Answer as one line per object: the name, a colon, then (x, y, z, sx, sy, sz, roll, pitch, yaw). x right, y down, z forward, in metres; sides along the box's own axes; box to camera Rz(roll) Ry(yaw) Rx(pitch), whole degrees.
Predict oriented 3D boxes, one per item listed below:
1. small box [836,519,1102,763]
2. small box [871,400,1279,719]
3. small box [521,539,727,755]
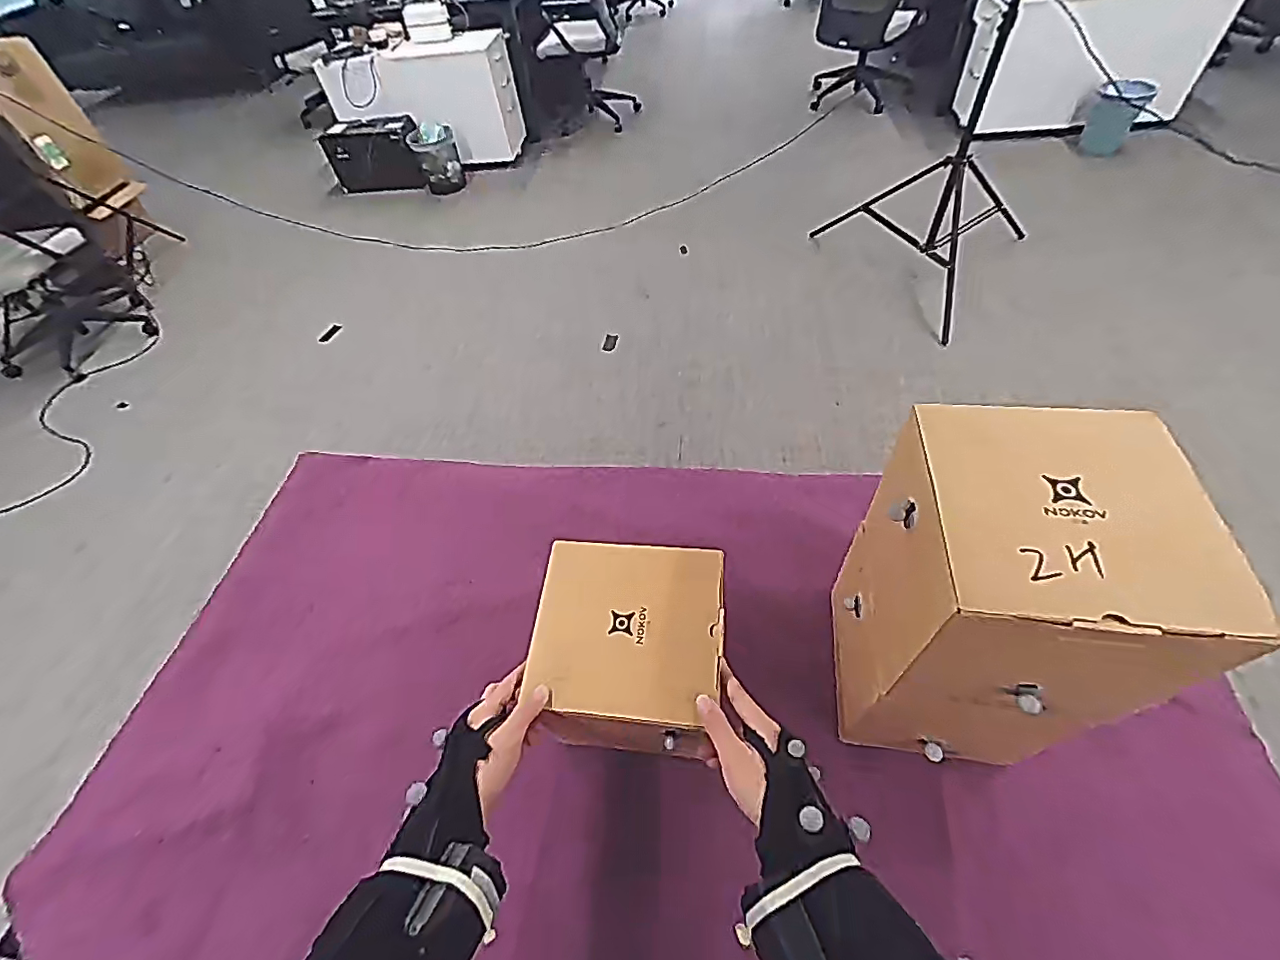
small box: (0.299, 0.162, 0.544, 0.168, 0.176, 0.179, 4, 53, 10)
small box: (0.287, 0.061, 0.415, 0.168, 0.176, 0.179, 3, 52, 10)
small box: (-0.002, 0.177, 0.564, 0.179, 0.176, 0.168, 3, 54, 8)
